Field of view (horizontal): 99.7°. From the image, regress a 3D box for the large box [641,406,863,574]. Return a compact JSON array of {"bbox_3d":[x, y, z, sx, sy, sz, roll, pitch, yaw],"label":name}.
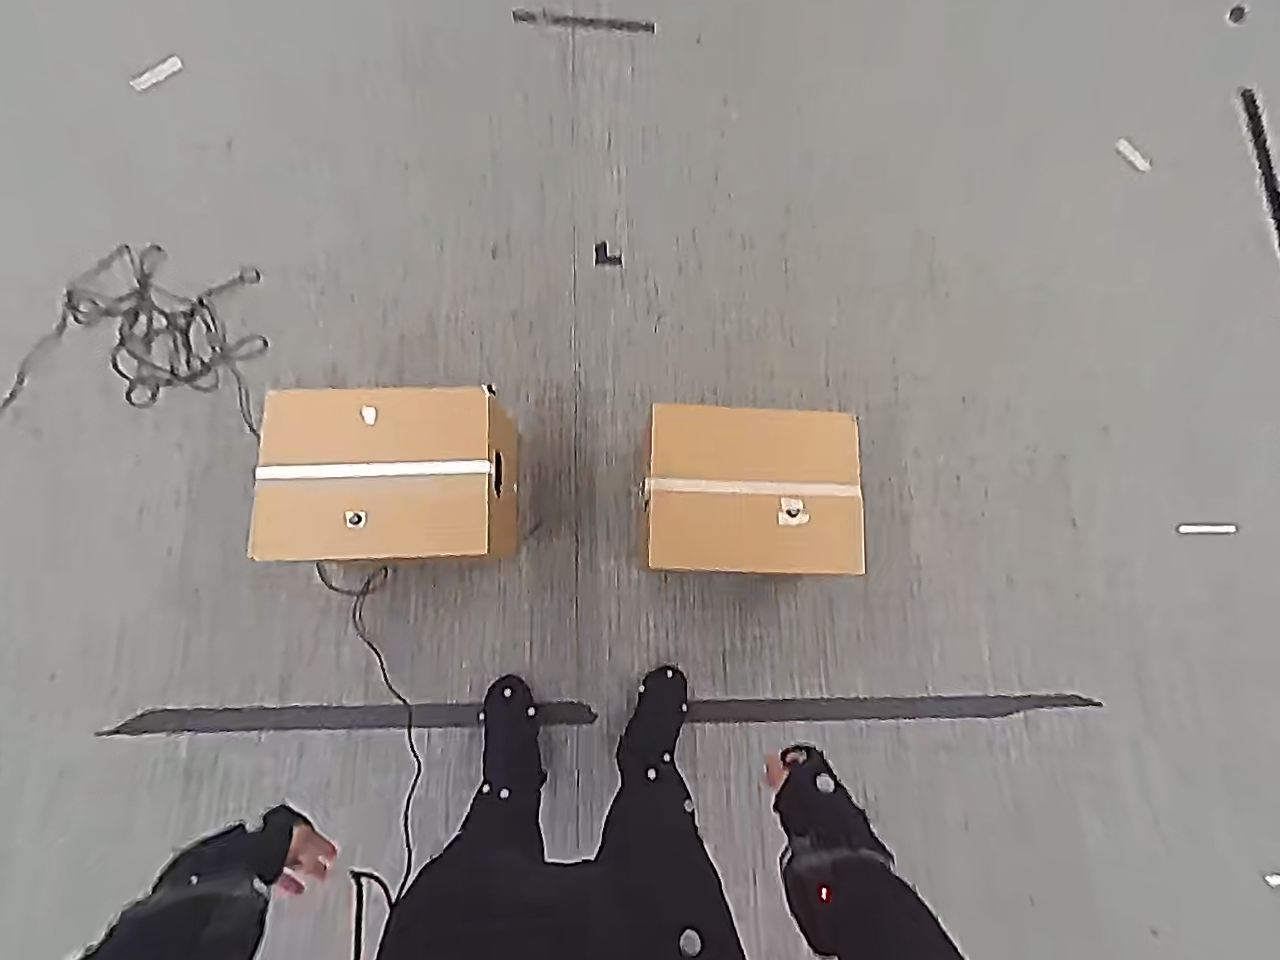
[{"bbox_3d":[0.212,0.042,1.171,0.408,0.320,0.320,3,80,-4],"label":"large box"}]
